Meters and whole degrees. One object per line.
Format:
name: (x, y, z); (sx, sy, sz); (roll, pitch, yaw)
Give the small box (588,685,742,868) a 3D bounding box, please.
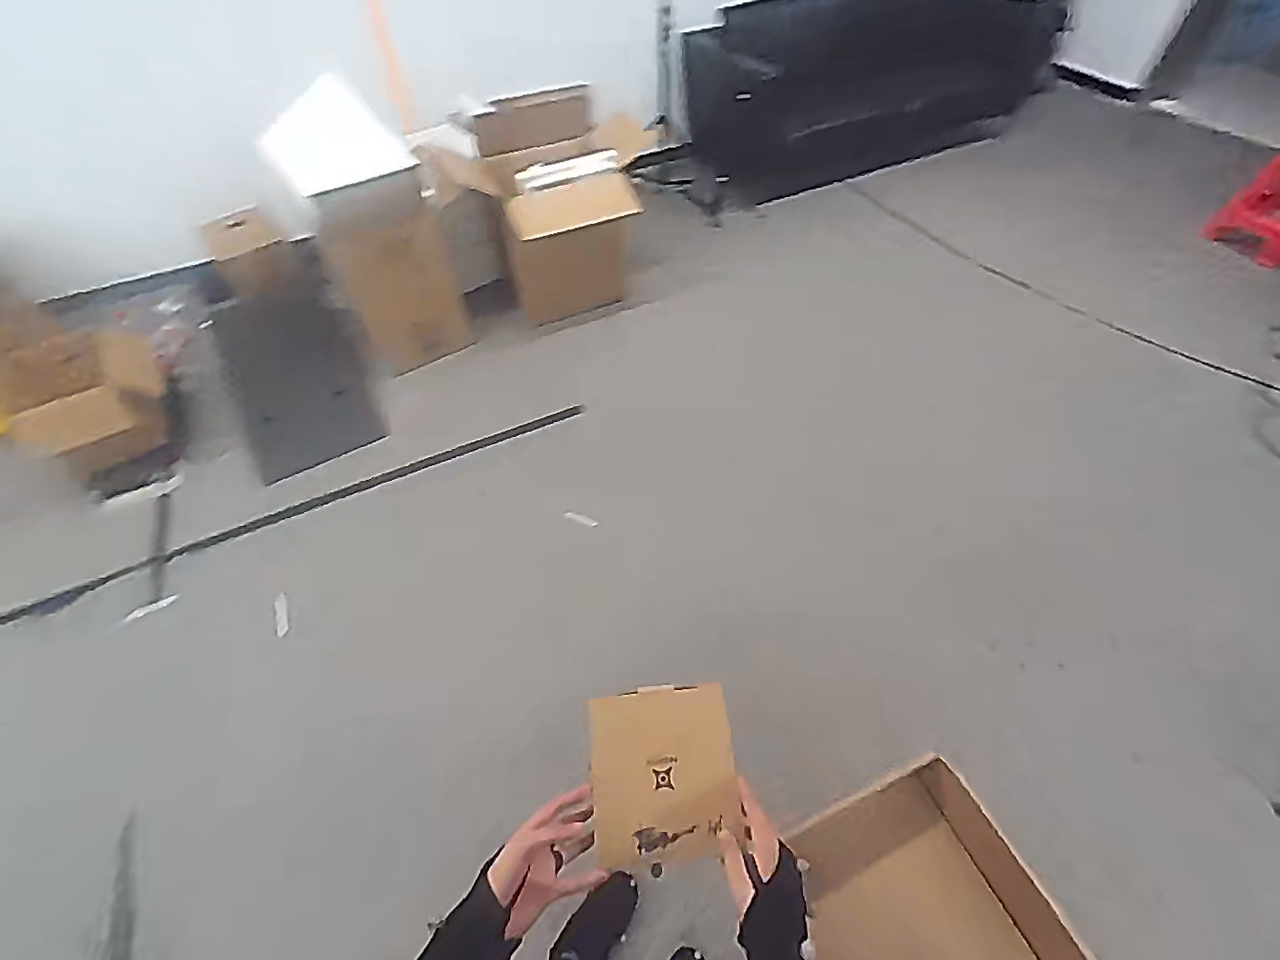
small box: (0.025, 0.372, 0.687); (0.168, 0.176, 0.179); (-6, 61, 0)
